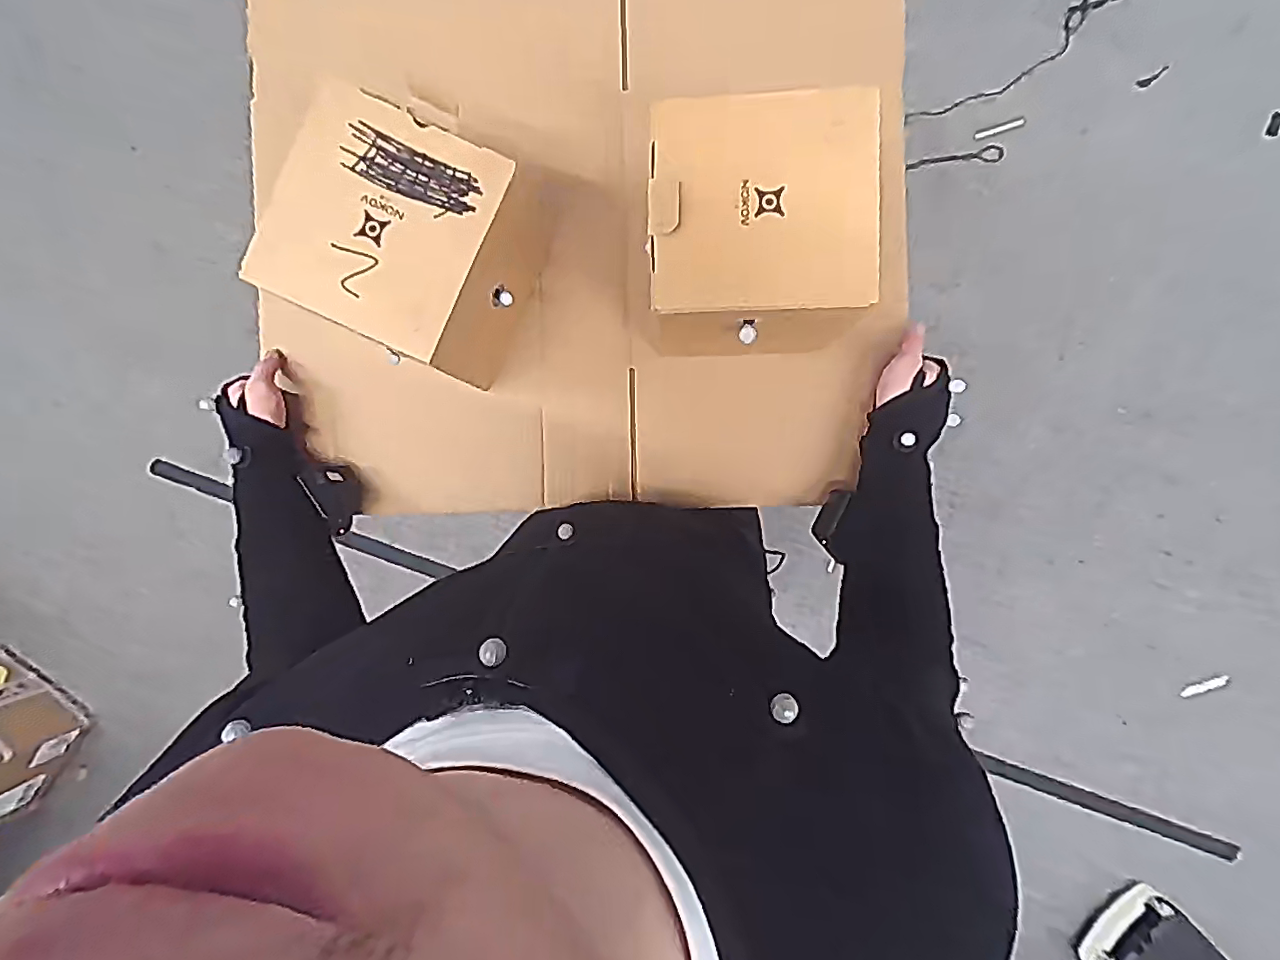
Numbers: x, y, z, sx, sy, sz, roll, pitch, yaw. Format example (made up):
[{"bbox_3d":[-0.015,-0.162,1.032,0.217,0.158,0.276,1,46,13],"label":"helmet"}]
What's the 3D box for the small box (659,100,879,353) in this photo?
[{"bbox_3d":[0.109,-0.221,0.515,0.179,0.176,0.168,0,91,6],"label":"small box"}]
